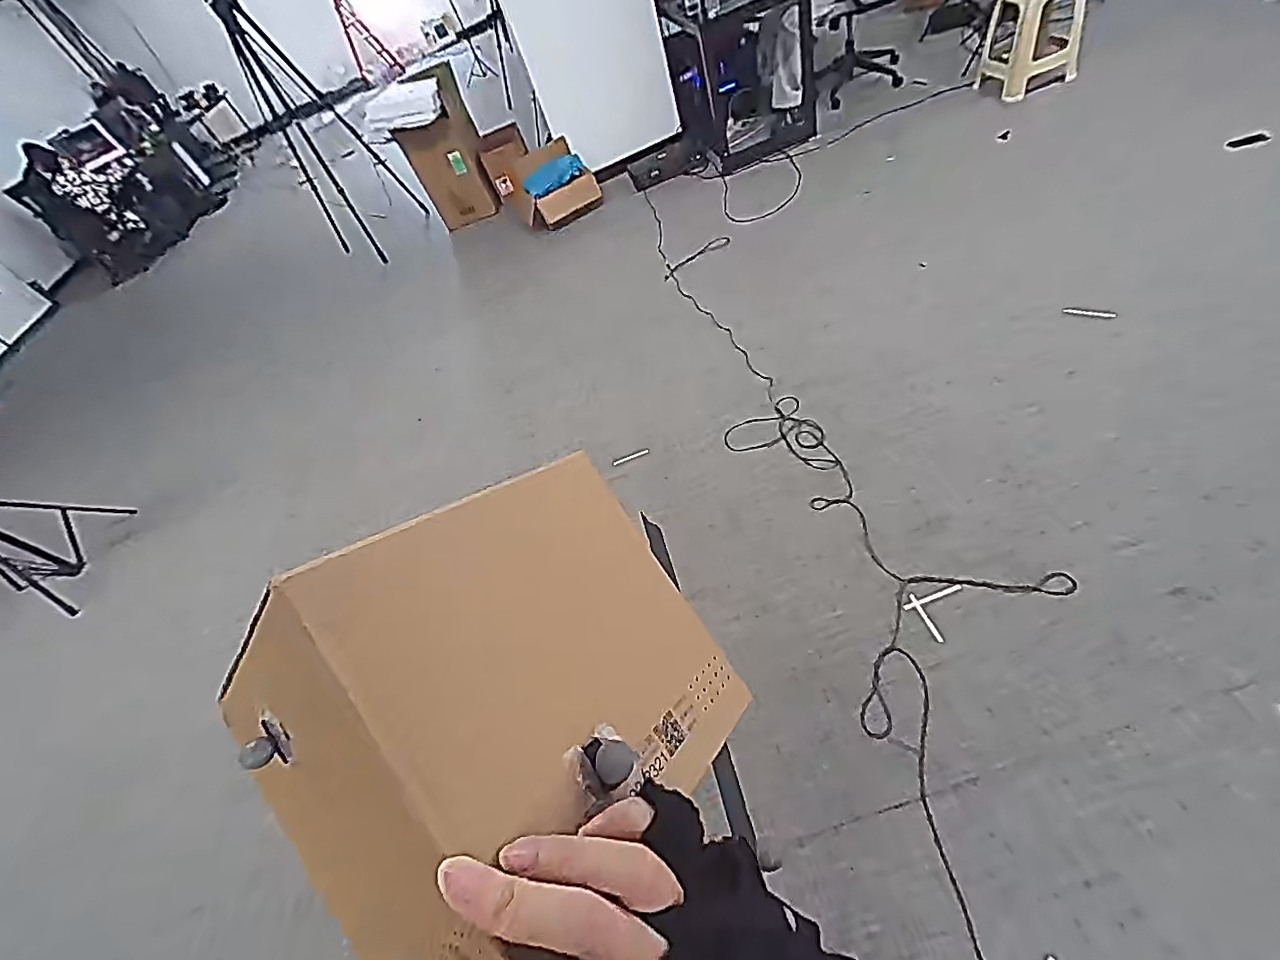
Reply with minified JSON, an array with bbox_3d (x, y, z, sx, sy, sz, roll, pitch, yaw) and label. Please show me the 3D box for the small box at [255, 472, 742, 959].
[{"bbox_3d":[-0.079,0.127,0.308,0.179,0.176,0.168,-40,-7,39],"label":"small box"}]
